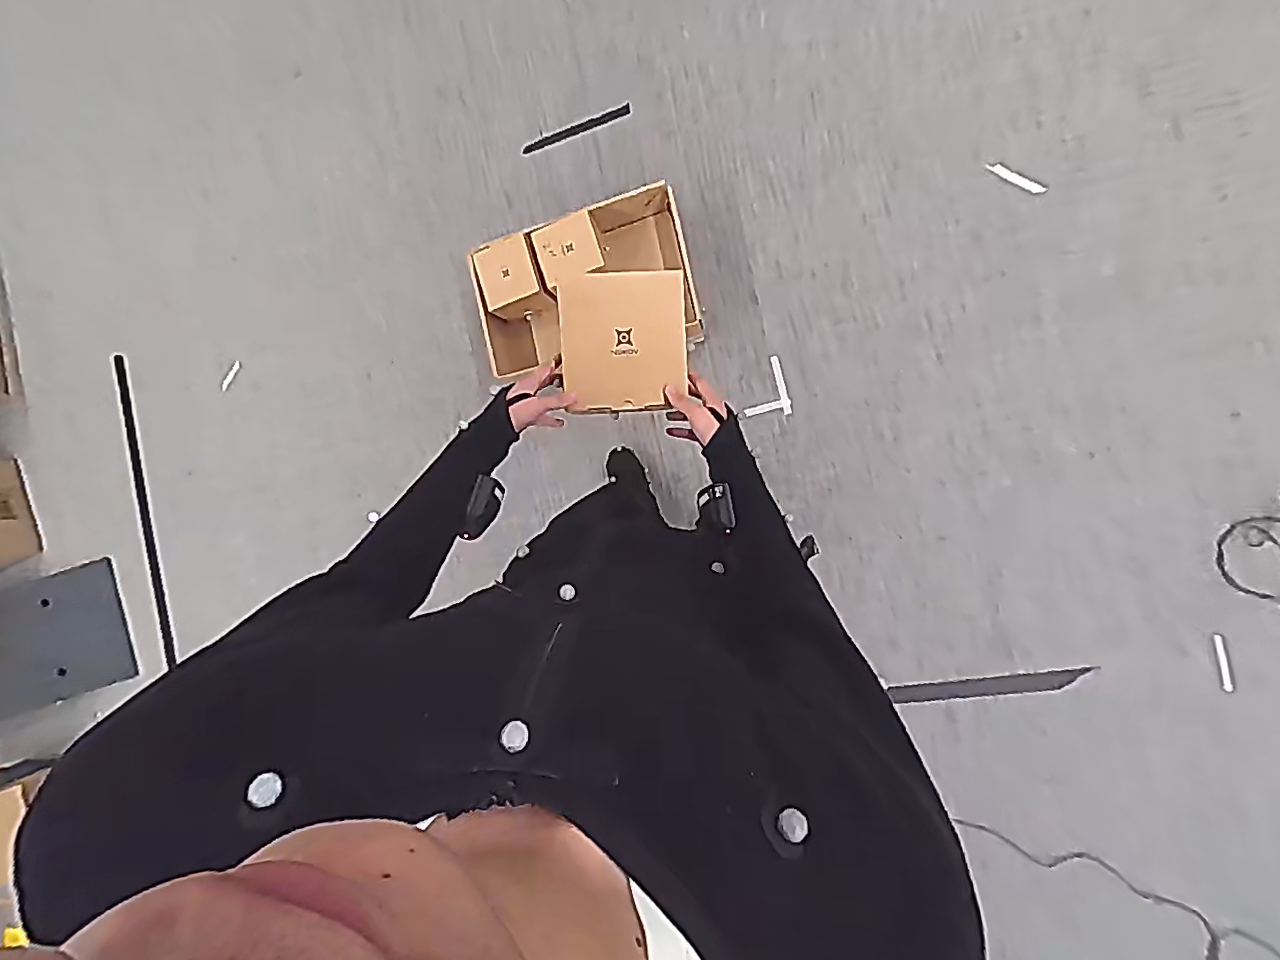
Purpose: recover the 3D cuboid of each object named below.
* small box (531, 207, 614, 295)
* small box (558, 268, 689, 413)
[{"bbox_3d":[-0.183,-0.637,1.547,0.179,0.176,0.168,-18,88,12],"label":"small box"},{"bbox_3d":[-0.028,-0.189,0.772,0.168,0.176,0.179,-4,97,-4],"label":"small box"}]
